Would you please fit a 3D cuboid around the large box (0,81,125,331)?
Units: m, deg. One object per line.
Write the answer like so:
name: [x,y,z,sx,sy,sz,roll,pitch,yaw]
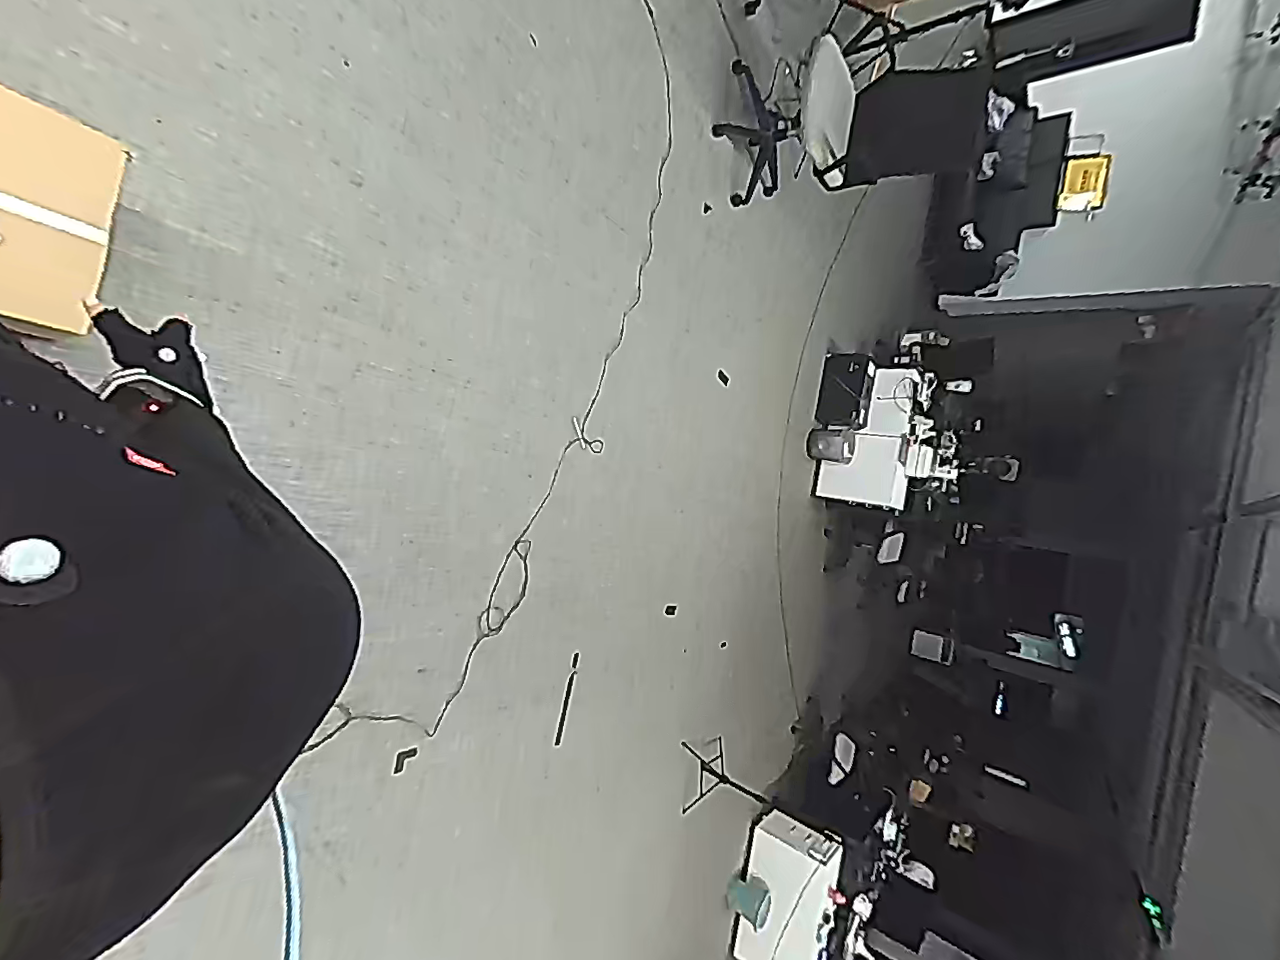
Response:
large box: [-1.081,-0.435,0.785,0.408,0.320,0.320,14,87,-54]
